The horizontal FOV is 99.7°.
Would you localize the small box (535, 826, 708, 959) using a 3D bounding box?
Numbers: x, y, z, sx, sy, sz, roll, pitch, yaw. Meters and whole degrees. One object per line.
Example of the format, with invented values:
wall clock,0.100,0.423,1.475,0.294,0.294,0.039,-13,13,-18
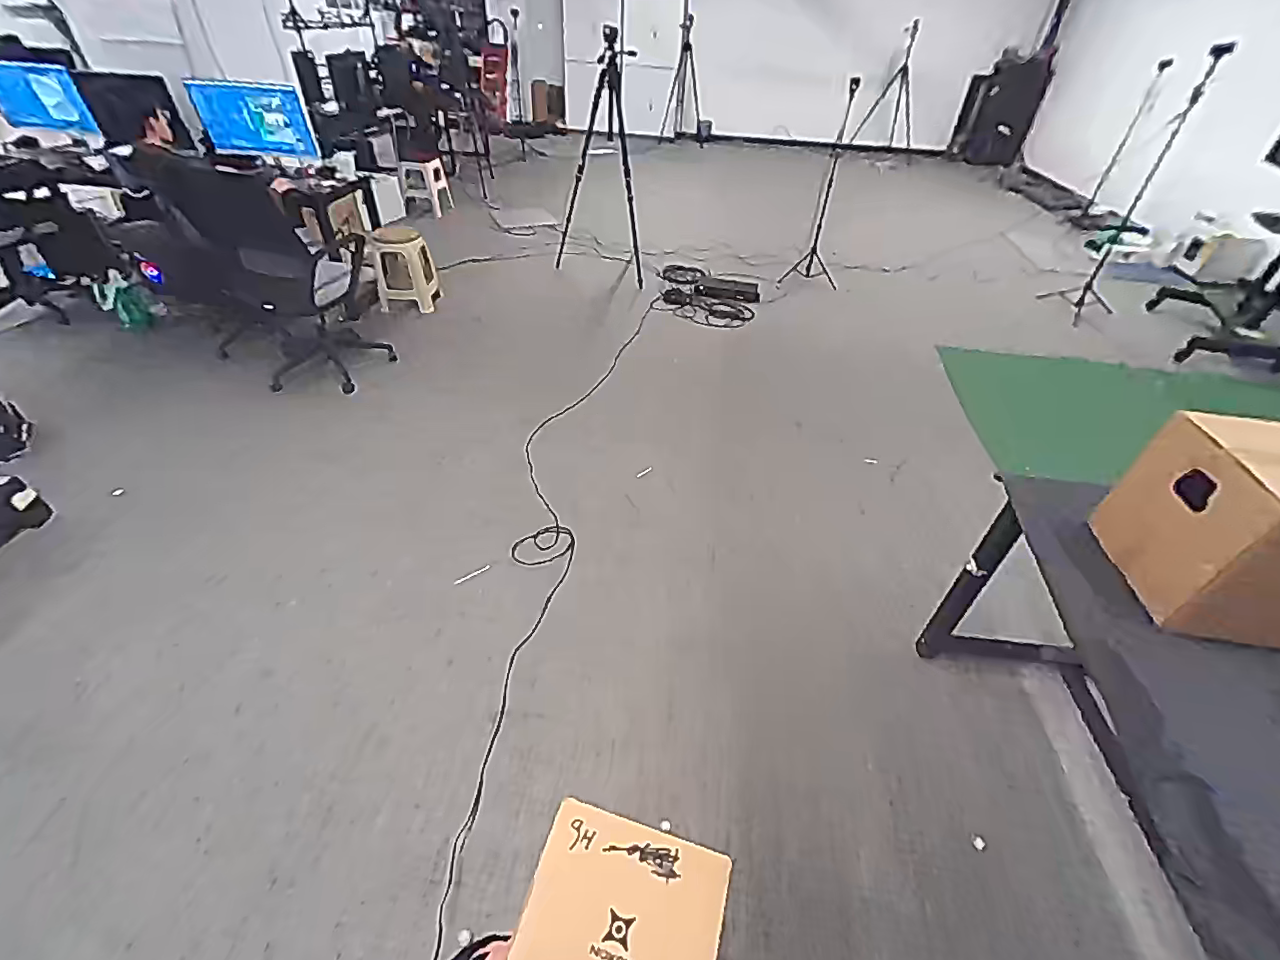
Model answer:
small box,-0.022,0.544,0.631,0.168,0.176,0.179,11,45,9
